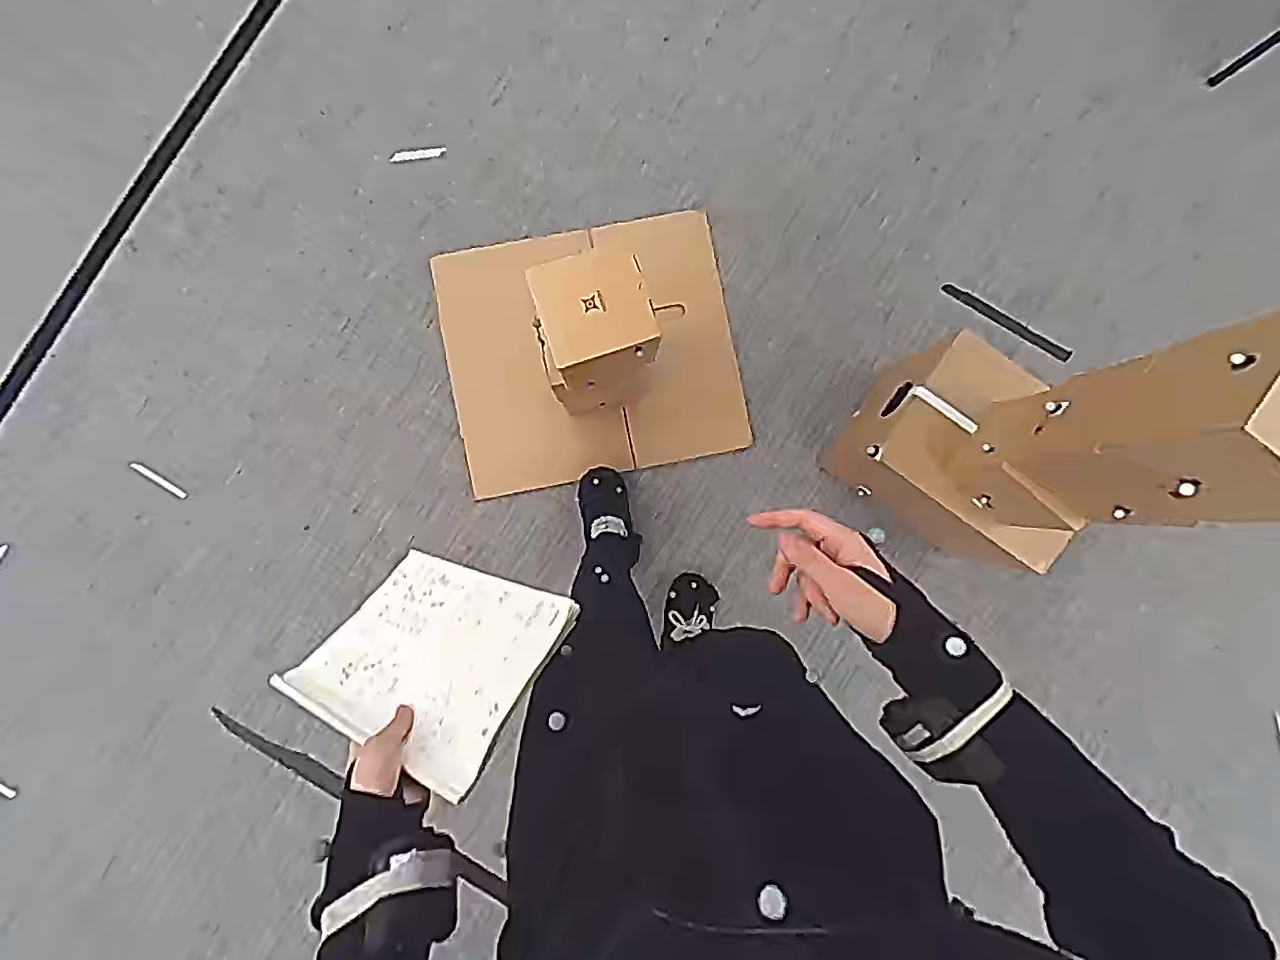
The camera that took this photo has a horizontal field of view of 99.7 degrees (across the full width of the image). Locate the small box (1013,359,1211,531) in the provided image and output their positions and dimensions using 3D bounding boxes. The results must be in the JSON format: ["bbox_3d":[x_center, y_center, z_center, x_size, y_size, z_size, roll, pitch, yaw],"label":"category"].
[{"bbox_3d":[0.707,-0.044,0.786,0.179,0.176,0.168,35,87,1],"label":"small box"}]

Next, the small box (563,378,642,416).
[{"bbox_3d":[-0.103,-0.252,1.244,0.179,0.176,0.168,-13,89,-3],"label":"small box"}]

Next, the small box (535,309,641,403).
[{"bbox_3d":[-0.097,-0.259,1.079,0.179,0.176,0.168,-12,89,-4],"label":"small box"}]

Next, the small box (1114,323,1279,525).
[{"bbox_3d":[0.716,-0.064,0.622,0.168,0.176,0.179,37,87,1],"label":"small box"}]

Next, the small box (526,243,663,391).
[{"bbox_3d":[-0.073,-0.264,0.918,0.179,0.176,0.168,-19,89,-4],"label":"small box"}]
